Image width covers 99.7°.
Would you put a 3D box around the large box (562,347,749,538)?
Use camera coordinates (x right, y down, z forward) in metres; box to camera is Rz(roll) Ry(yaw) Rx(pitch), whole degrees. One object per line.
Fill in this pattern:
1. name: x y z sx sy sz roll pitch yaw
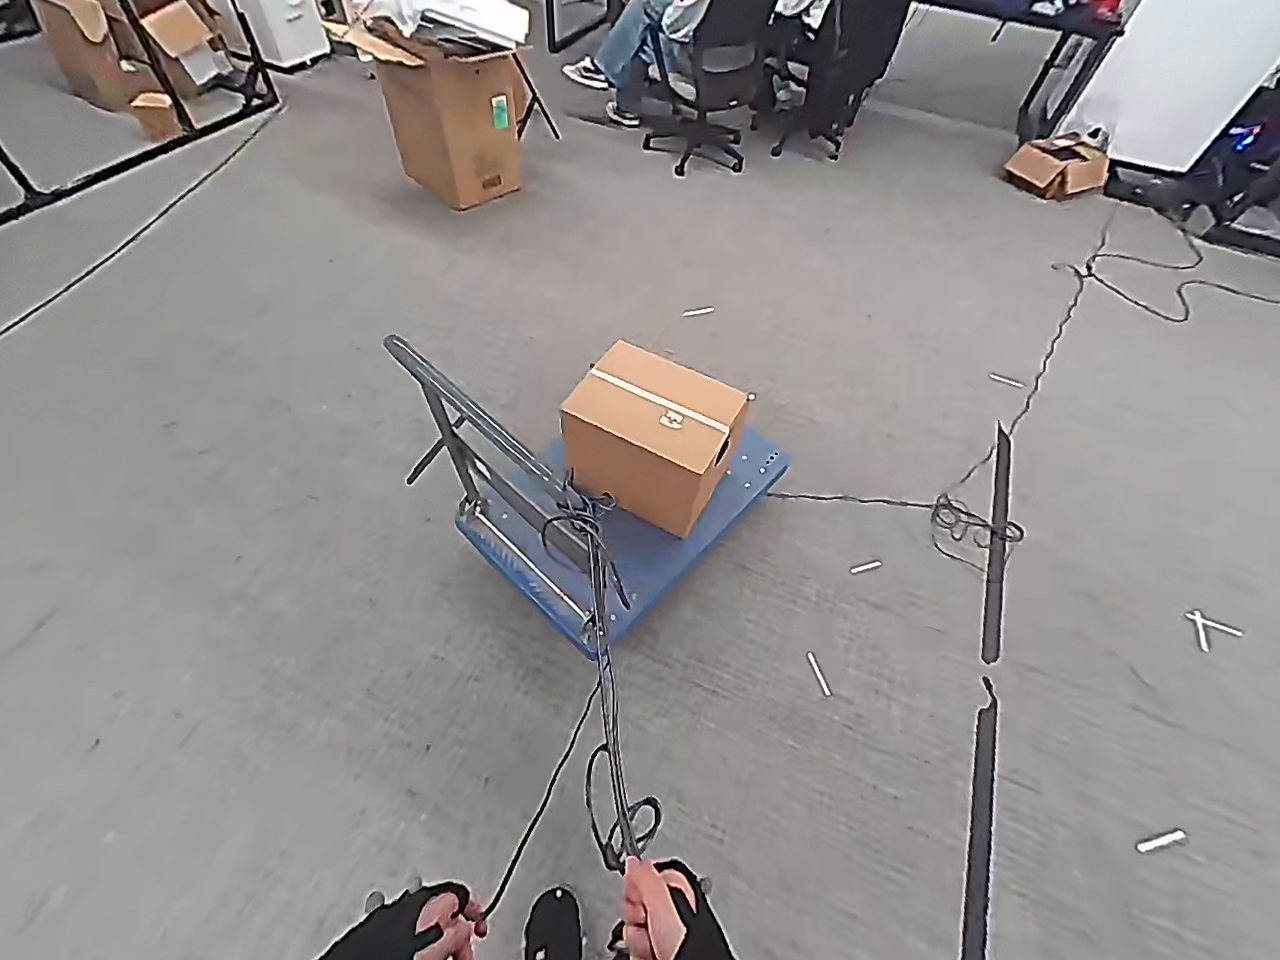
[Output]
1. large box: 0.032 -0.104 1.513 0.408 0.320 0.320 26 57 13
